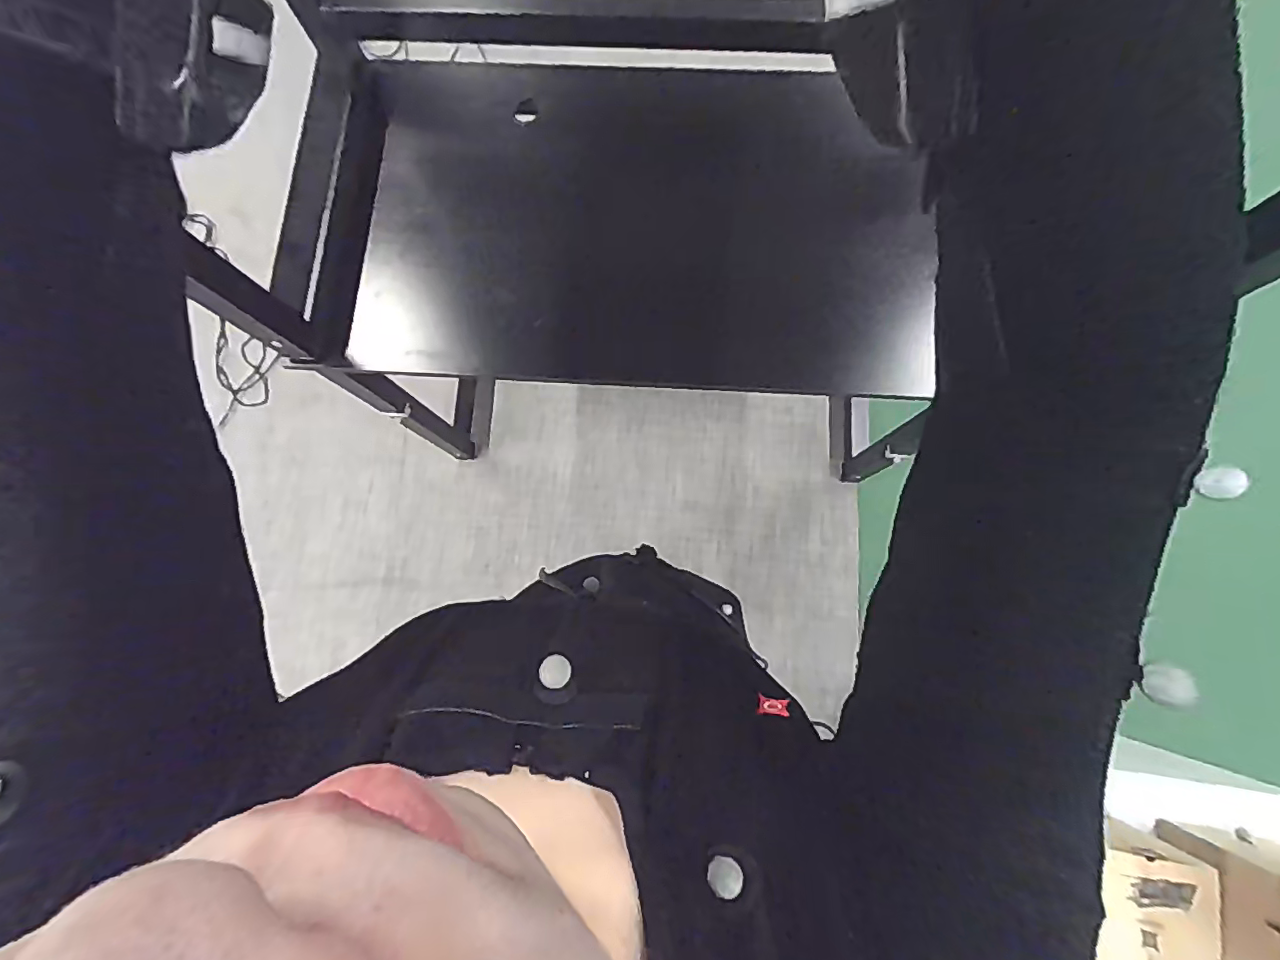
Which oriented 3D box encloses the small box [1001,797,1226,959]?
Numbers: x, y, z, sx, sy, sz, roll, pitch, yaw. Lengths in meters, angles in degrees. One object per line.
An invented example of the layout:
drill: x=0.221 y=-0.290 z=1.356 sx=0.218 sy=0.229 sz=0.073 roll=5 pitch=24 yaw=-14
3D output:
small box: x=0.628 y=0.567 z=0.738 sx=0.168 sy=0.176 sz=0.179 roll=10 pitch=81 yaw=3
